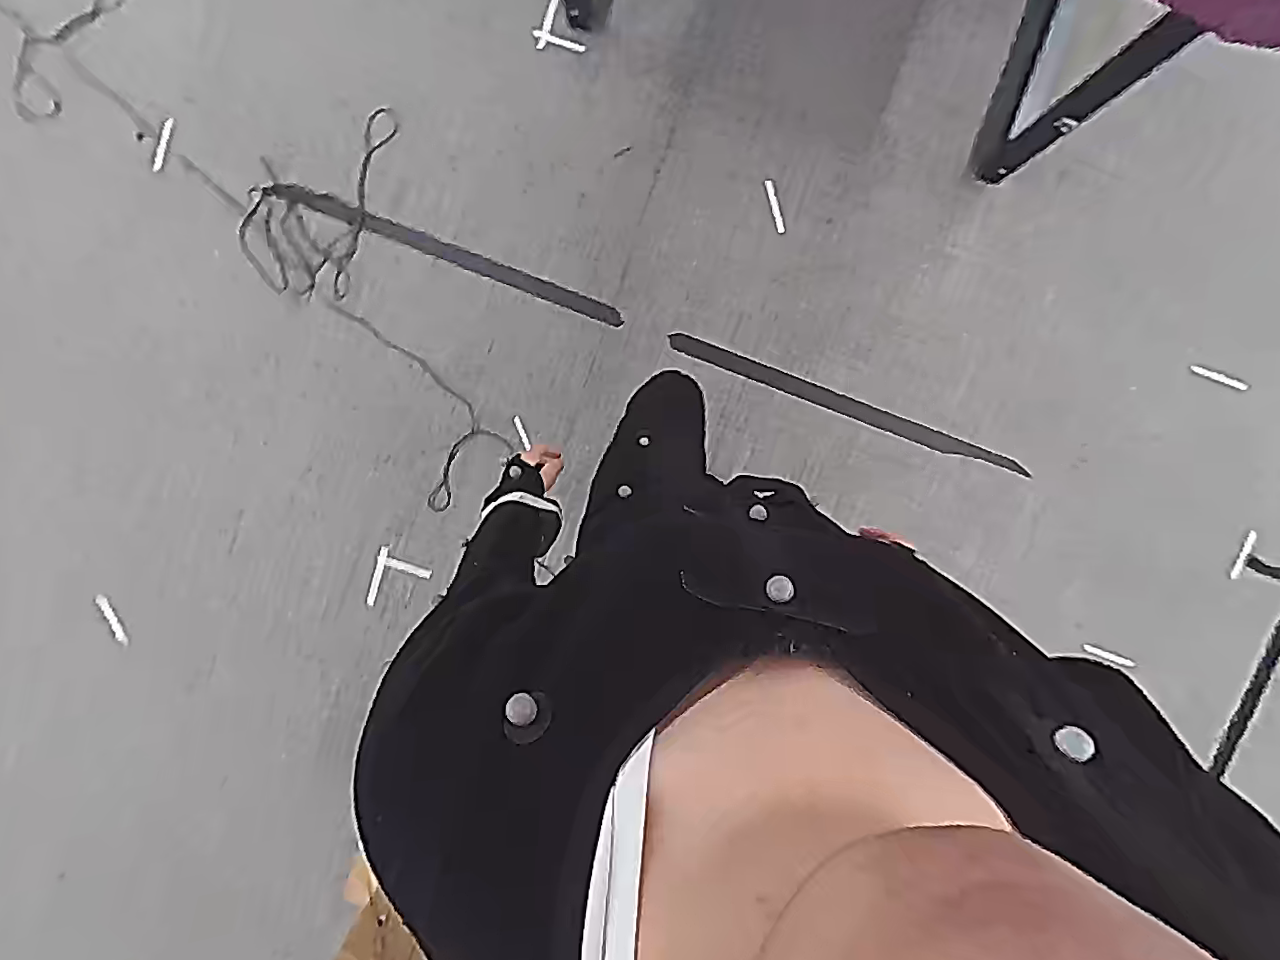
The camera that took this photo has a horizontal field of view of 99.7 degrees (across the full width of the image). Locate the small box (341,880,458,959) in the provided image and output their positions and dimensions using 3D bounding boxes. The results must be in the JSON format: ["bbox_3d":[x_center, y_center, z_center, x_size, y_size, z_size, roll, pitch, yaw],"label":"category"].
[{"bbox_3d":[-0.468,0.925,1.041,0.168,0.176,0.179,15,96,1],"label":"small box"}]
